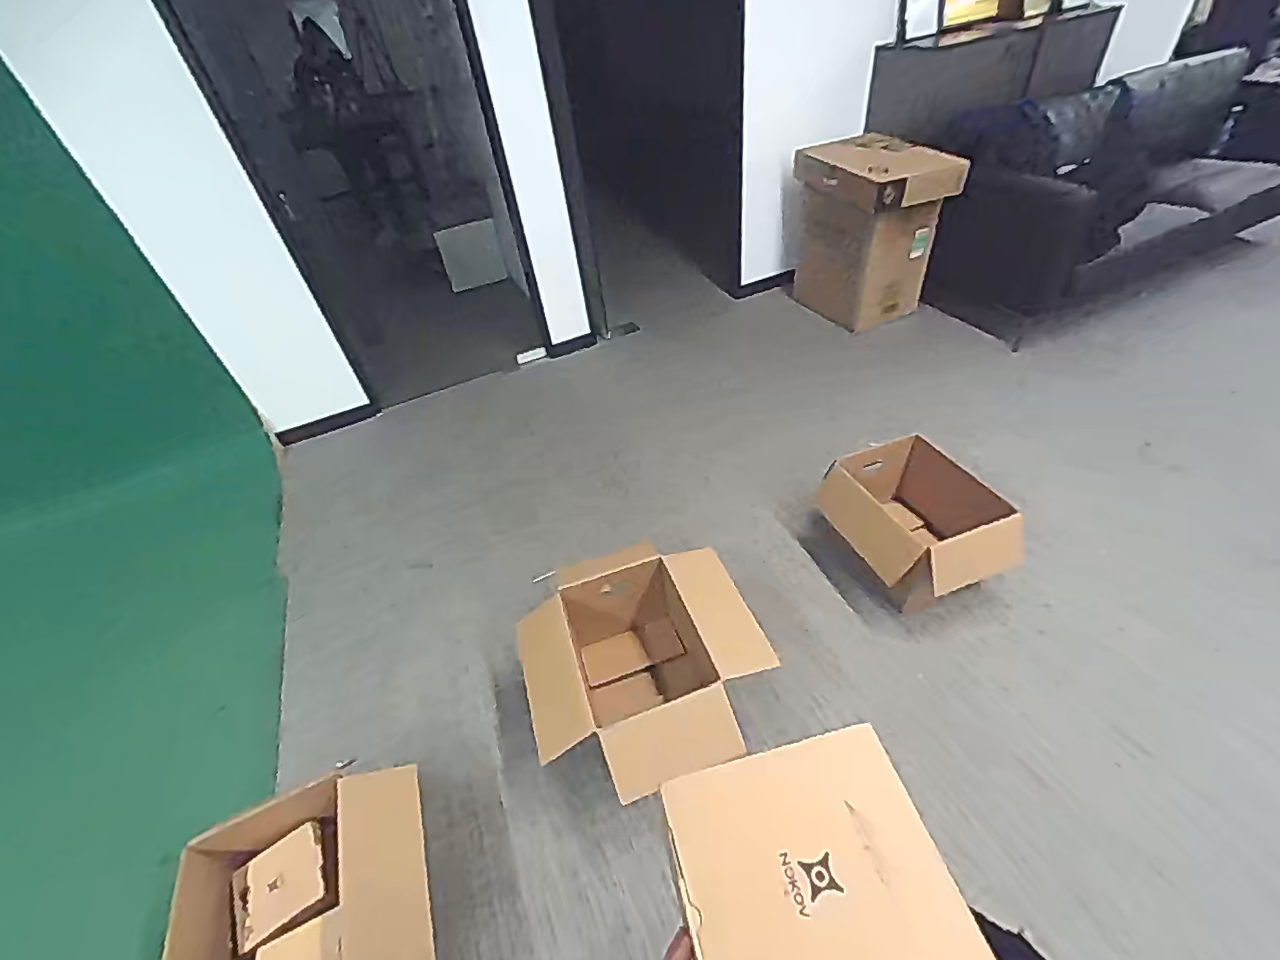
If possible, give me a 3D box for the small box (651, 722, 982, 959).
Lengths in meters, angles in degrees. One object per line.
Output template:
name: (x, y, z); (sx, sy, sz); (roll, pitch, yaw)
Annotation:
small box: (0.116, 0.322, 0.423); (0.179, 0.176, 0.168); (-13, 47, -7)
